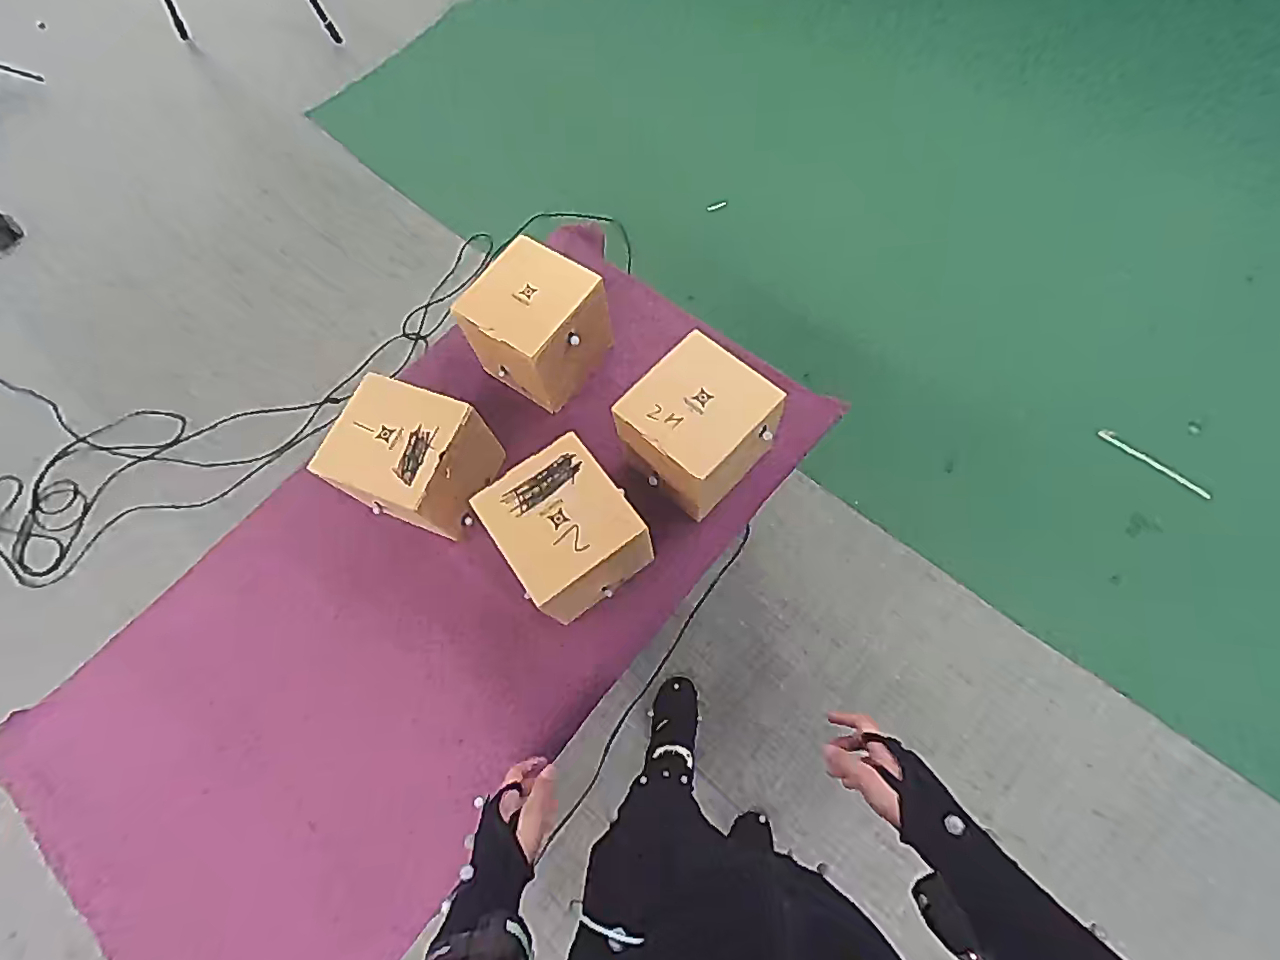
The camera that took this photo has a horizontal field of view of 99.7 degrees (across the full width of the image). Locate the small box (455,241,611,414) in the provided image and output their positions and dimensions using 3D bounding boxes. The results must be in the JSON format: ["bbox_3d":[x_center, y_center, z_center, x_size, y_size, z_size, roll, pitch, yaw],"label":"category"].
[{"bbox_3d":[-0.161,-0.242,0.886,0.168,0.176,0.179,32,76,15],"label":"small box"}]

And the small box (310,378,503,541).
[{"bbox_3d":[-0.333,-0.021,0.812,0.179,0.176,0.168,19,71,11],"label":"small box"}]

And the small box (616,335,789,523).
[{"bbox_3d":[0.088,-0.067,0.792,0.168,0.176,0.179,42,78,19],"label":"small box"}]
